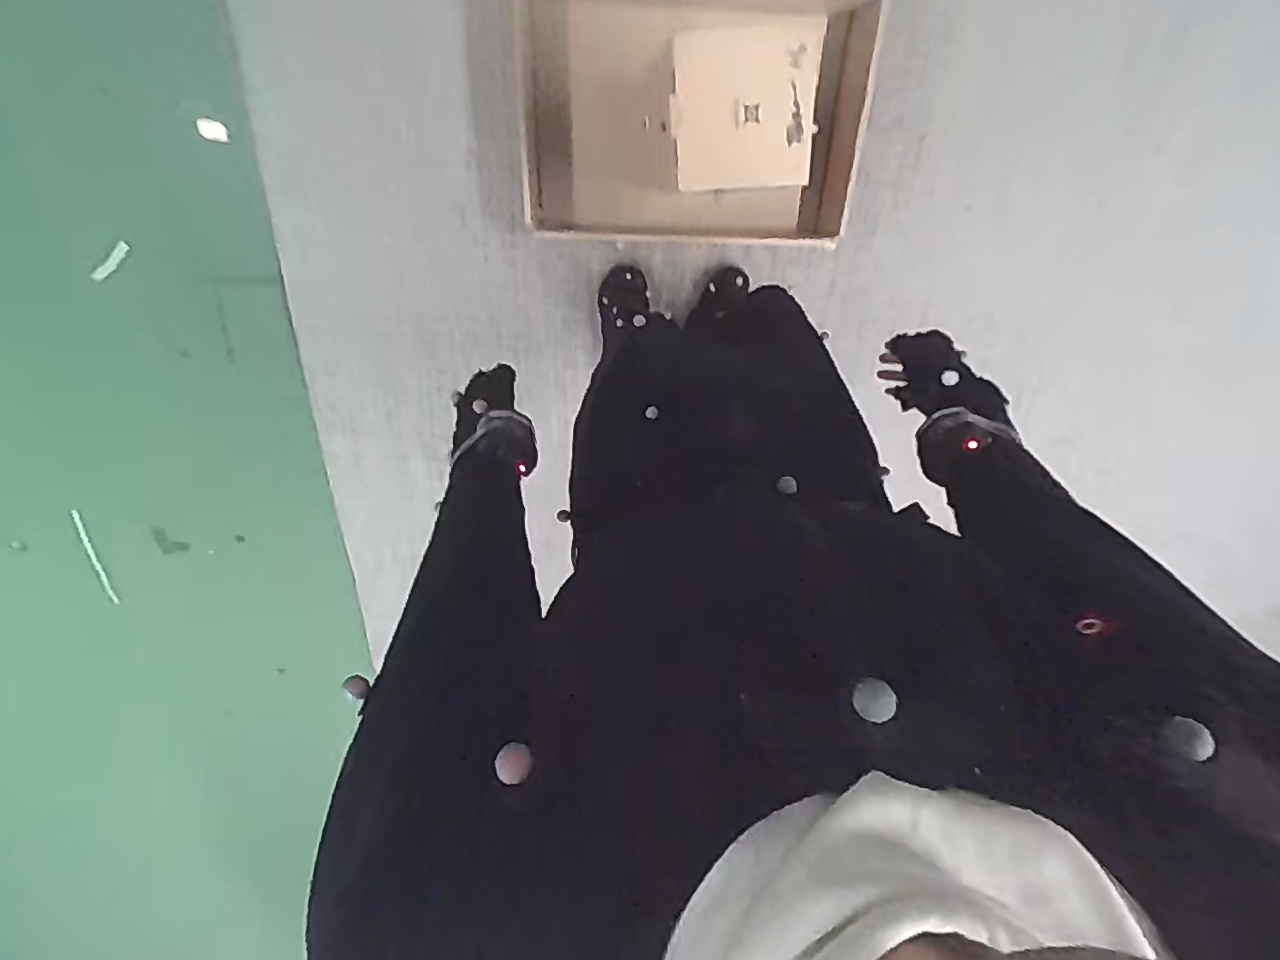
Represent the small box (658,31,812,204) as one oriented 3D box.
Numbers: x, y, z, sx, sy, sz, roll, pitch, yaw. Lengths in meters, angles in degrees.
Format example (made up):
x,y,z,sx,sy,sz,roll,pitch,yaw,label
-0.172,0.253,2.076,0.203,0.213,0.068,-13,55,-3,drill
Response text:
x,y,z,sx,sy,sz,roll,pitch,yaw,label
0.120,-0.483,0.745,0.179,0.176,0.168,-8,115,-3,small box
